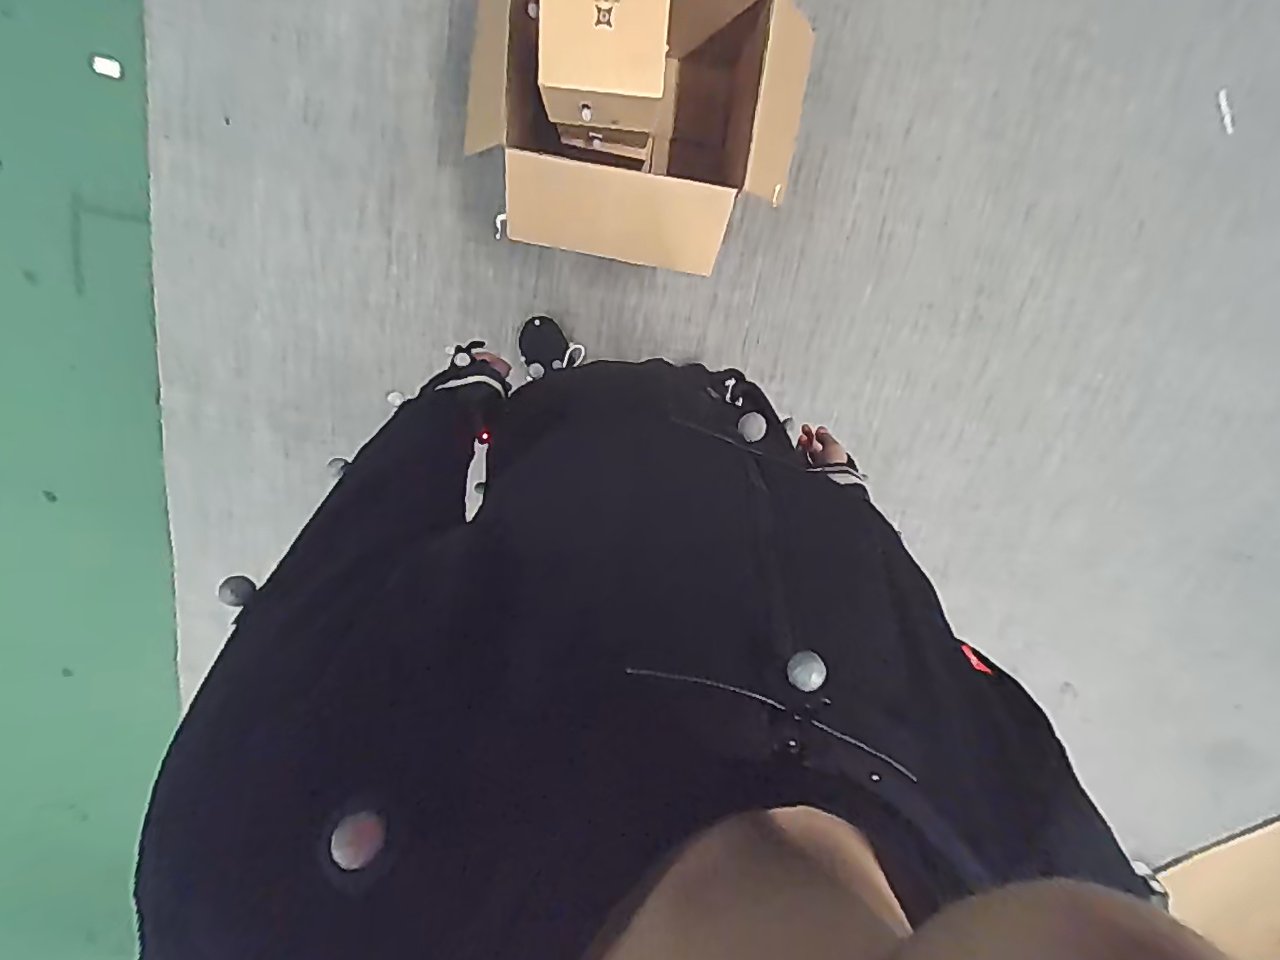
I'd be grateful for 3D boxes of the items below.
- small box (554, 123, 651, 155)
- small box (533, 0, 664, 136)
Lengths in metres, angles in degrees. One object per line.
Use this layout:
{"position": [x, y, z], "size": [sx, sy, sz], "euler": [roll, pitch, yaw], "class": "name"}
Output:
{"position": [-0.061, -0.672, 0.904], "size": [0.168, 0.176, 0.179], "euler": [5, 109, -6], "class": "small box"}
{"position": [-0.056, -0.606, 0.756], "size": [0.168, 0.176, 0.179], "euler": [2, 107, -4], "class": "small box"}
